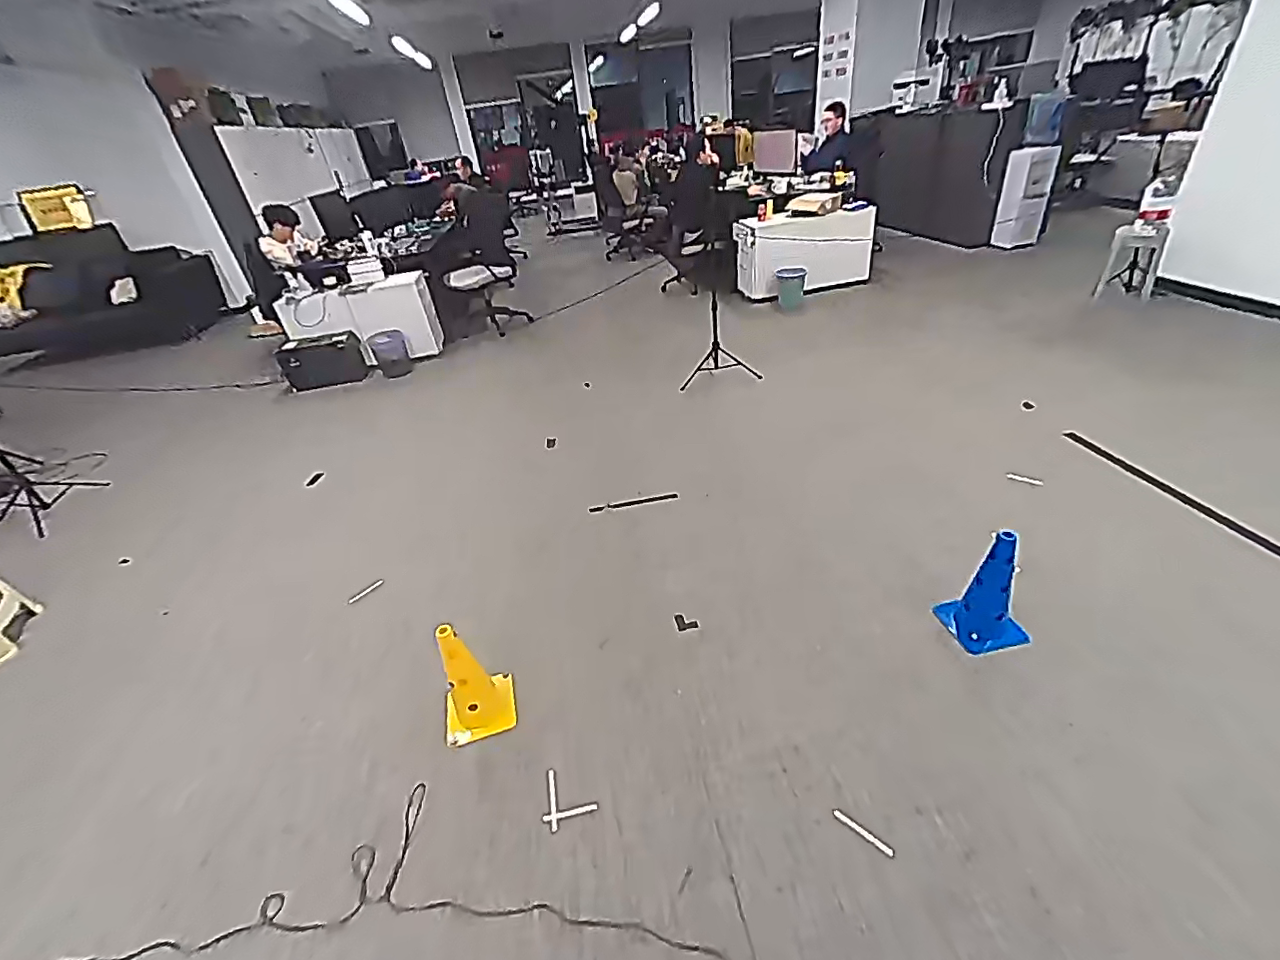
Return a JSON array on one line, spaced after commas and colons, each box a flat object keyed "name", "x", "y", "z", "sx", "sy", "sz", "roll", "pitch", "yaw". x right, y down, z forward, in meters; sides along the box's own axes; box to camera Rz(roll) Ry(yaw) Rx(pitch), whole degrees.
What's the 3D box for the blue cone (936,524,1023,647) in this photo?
[{"name": "blue cone", "x": 1.021, "y": 0.292, "z": 1.573, "sx": 0.193, "sy": 0.380, "sz": 0.192, "roll": -11, "pitch": 33, "yaw": -4}]
